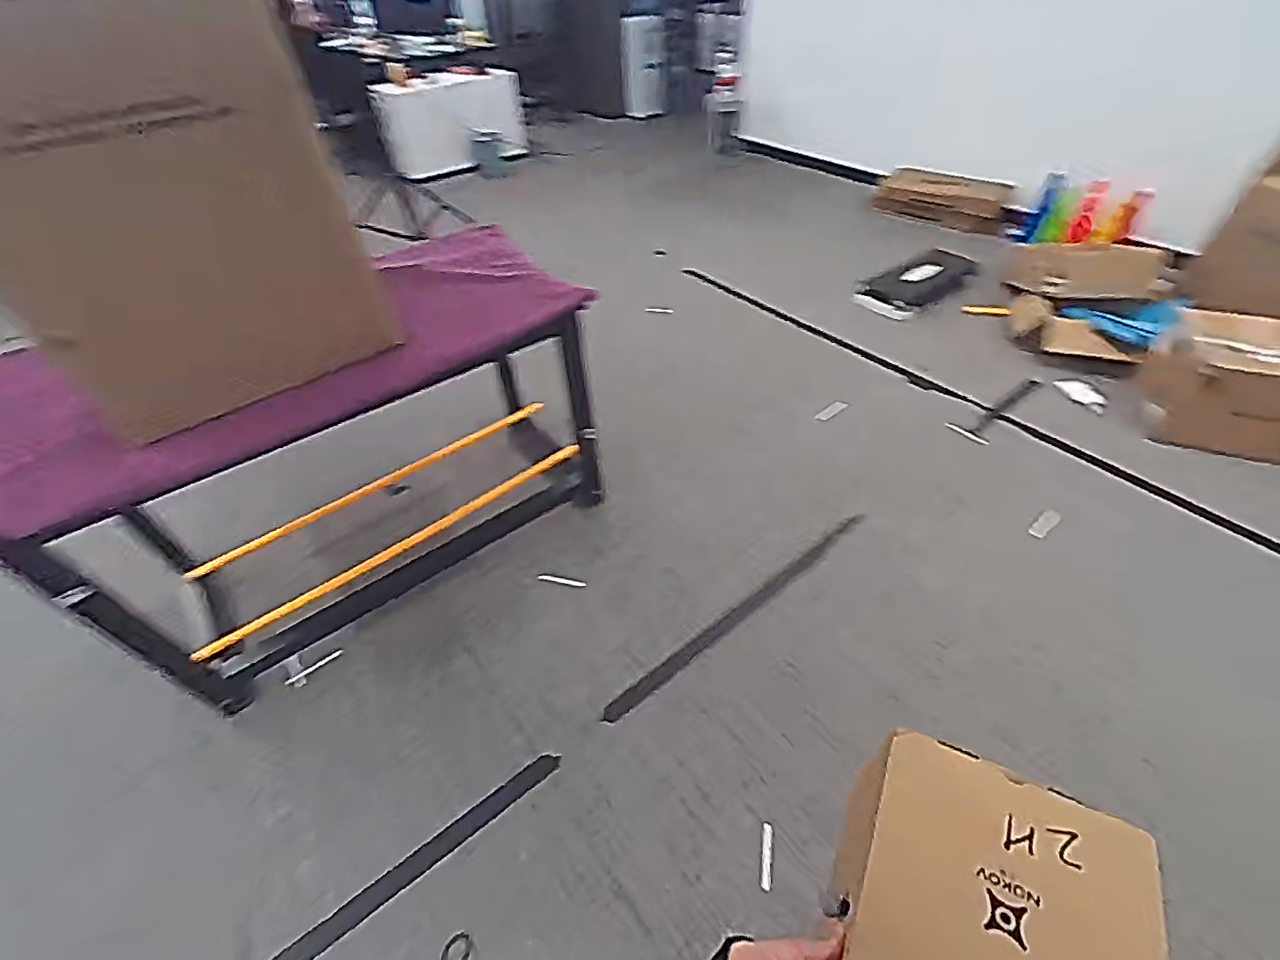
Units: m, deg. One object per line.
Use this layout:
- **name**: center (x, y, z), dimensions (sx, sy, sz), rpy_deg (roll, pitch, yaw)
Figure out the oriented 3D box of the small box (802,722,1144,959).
- **small box**: center (0.228, 0.327, 0.402), dimensions (0.168, 0.176, 0.179), rpy_deg (18, 48, 21)
